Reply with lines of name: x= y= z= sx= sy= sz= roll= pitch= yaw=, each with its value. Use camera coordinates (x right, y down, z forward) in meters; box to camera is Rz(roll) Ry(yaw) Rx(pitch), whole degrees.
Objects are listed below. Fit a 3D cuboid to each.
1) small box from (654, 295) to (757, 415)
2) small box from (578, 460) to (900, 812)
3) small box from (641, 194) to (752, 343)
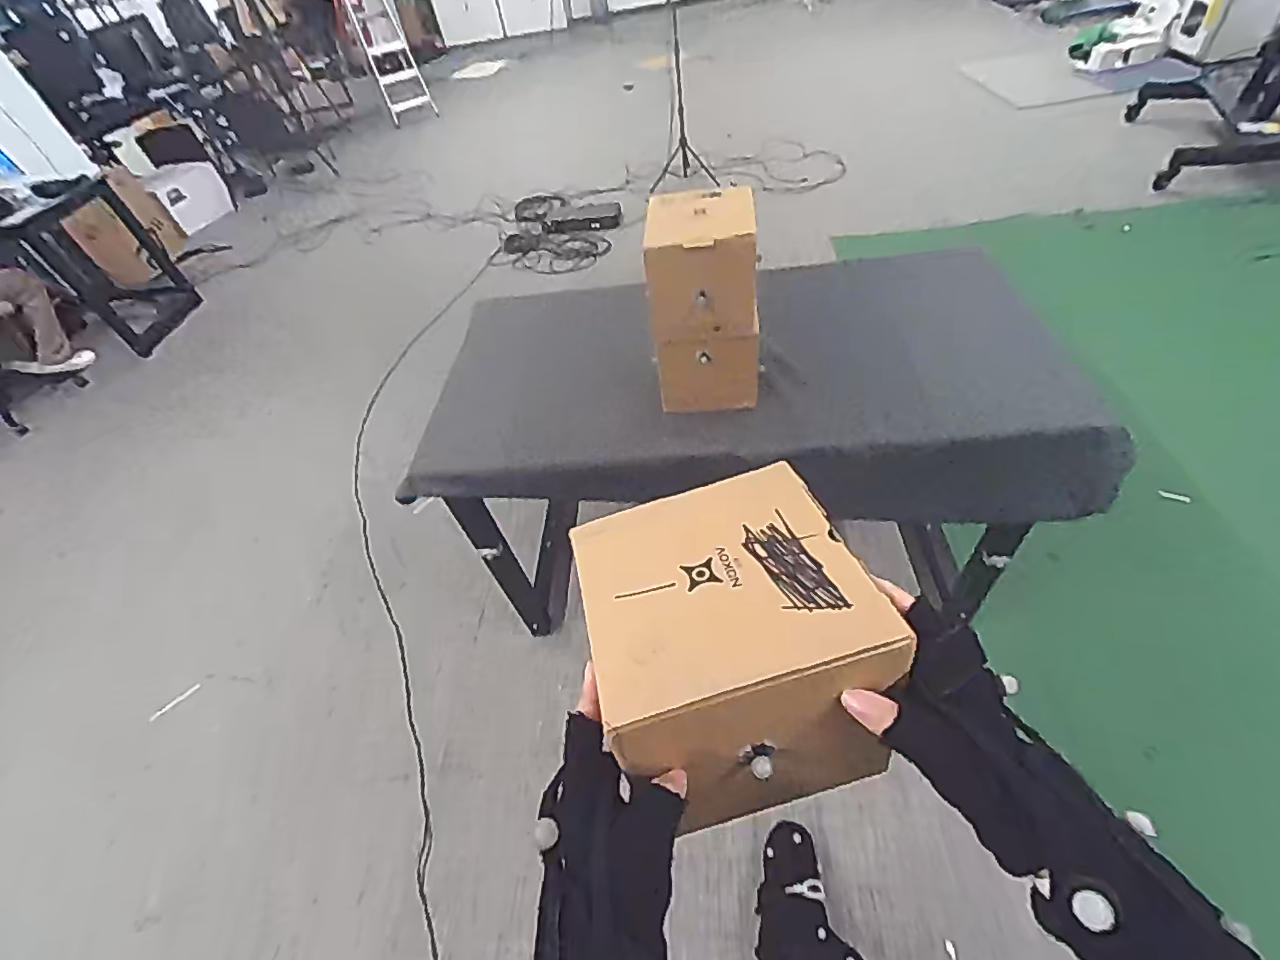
small box: x=0.126 y=-0.237 z=1.020 sx=0.179 sy=0.176 sz=0.168 roll=-2 pitch=49 yaw=8
small box: x=0.065 y=0.117 z=0.414 sx=0.179 sy=0.176 sz=0.168 roll=-17 pitch=38 yaw=-2
small box: x=0.100 y=-0.342 z=0.897 sx=0.168 sy=0.176 sz=0.179 roll=-2 pitch=50 yaw=9
